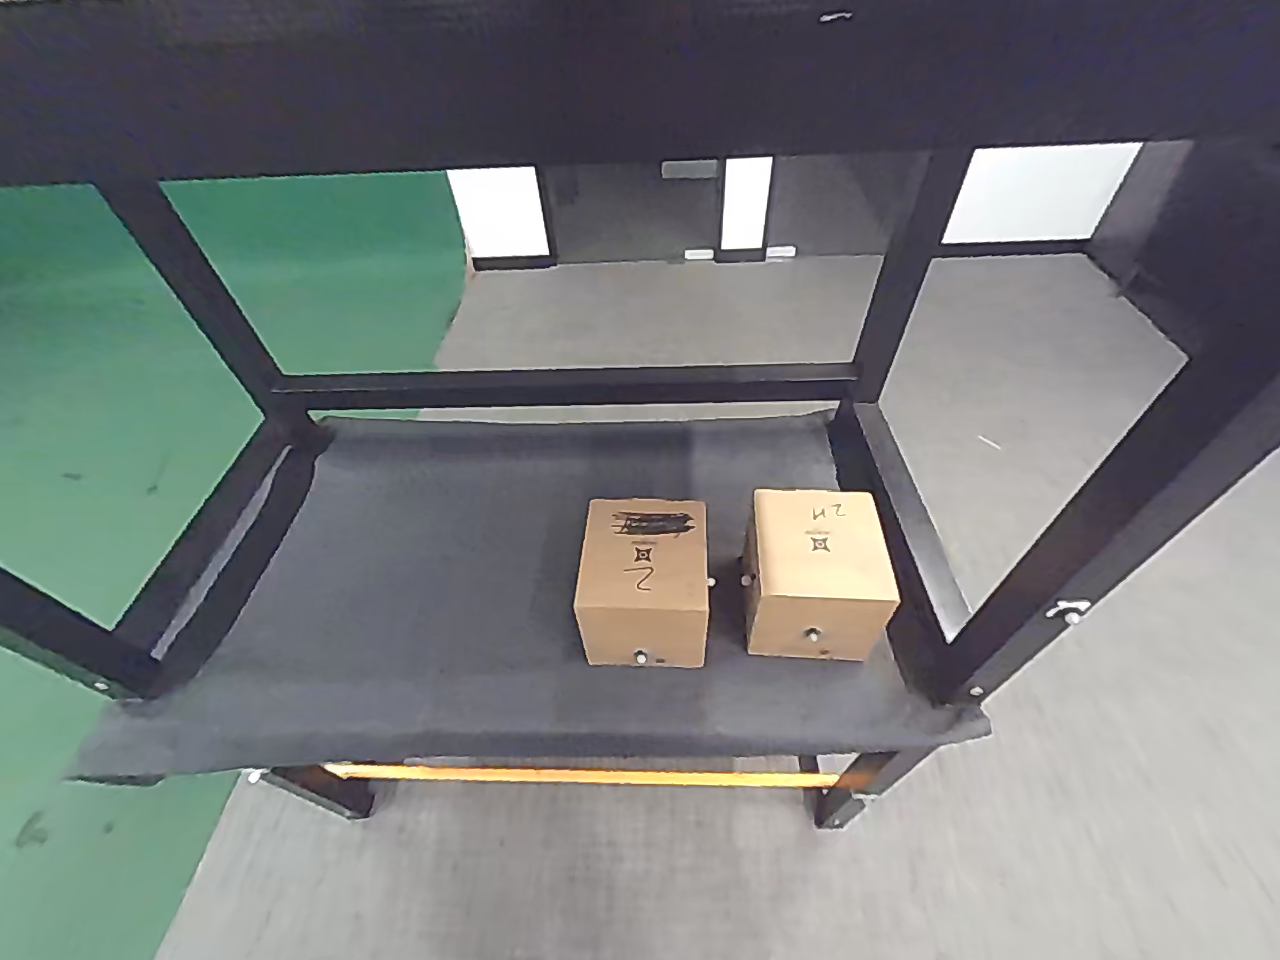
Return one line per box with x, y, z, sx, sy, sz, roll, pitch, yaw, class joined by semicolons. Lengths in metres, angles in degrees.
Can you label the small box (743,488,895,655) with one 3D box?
0.239;0.132;0.768;0.168;0.176;0.179;2;48;5;small box
